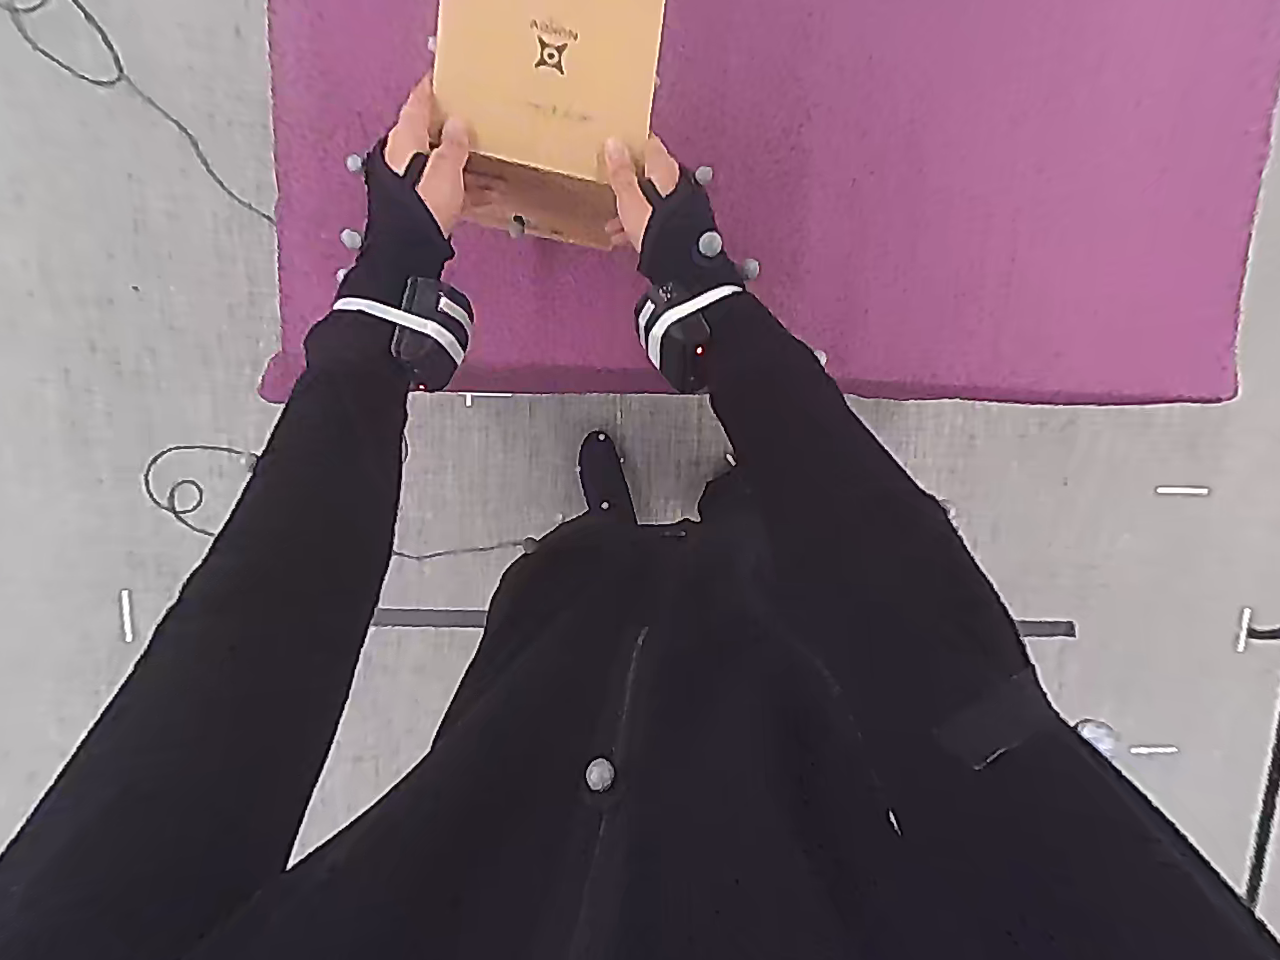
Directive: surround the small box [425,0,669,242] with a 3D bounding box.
[{"bbox_3d":[-0.081,-0.338,0.477,0.168,0.176,0.179,7,96,-12],"label":"small box"}]
